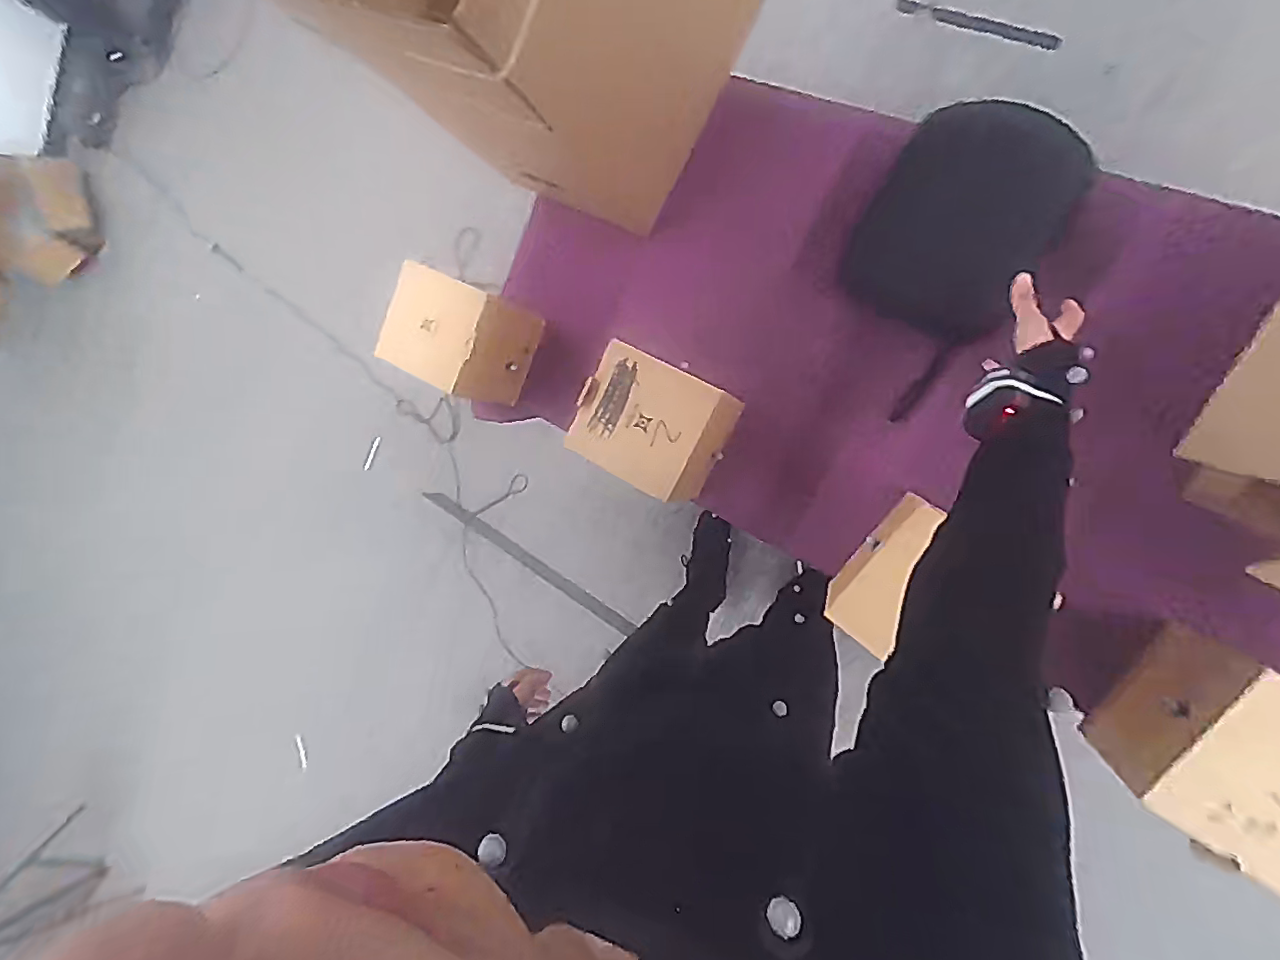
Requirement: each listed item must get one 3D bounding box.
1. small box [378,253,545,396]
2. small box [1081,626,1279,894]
[{"bbox_3d":[-0.295,-0.251,0.915,0.179,0.176,0.168,27,101,17],"label":"small box"},{"bbox_3d":[0.627,0.284,0.574,0.168,0.176,0.179,36,103,18],"label":"small box"}]
